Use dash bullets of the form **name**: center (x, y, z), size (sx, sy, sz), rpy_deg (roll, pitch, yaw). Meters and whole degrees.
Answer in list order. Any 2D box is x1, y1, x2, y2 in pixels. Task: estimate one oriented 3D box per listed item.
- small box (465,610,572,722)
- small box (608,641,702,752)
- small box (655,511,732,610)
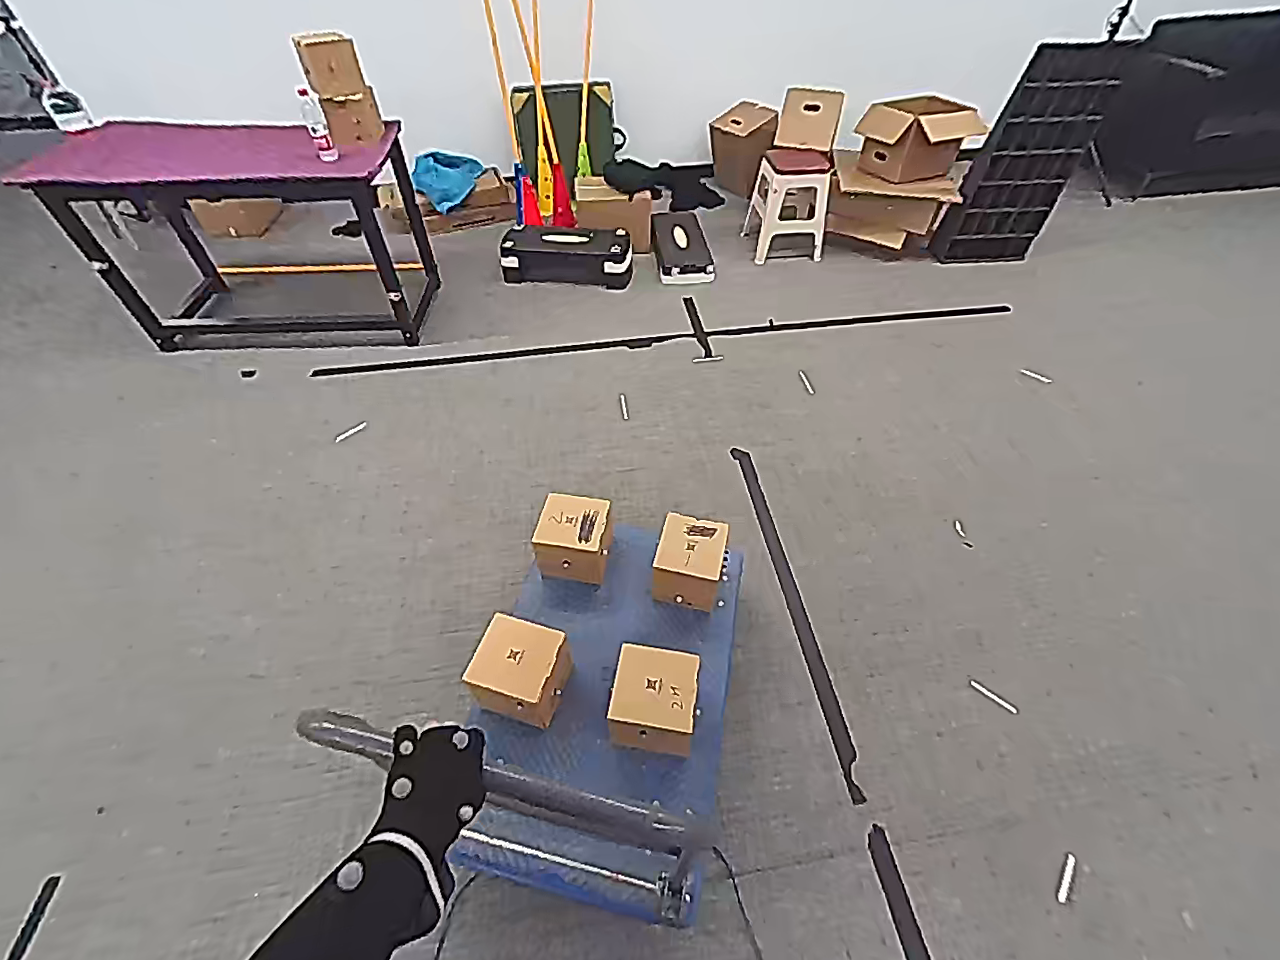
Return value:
- **small box**: center (-0.267, 0.429, 1.237), size (0.179, 0.176, 0.168), rpy_deg (14, 50, 10)
- **small box**: center (0.035, 0.480, 1.193), size (0.179, 0.176, 0.168), rpy_deg (8, 50, 7)
- **small box**: center (0.137, 0.213, 1.424), size (0.168, 0.176, 0.179), rpy_deg (12, 51, 10)
